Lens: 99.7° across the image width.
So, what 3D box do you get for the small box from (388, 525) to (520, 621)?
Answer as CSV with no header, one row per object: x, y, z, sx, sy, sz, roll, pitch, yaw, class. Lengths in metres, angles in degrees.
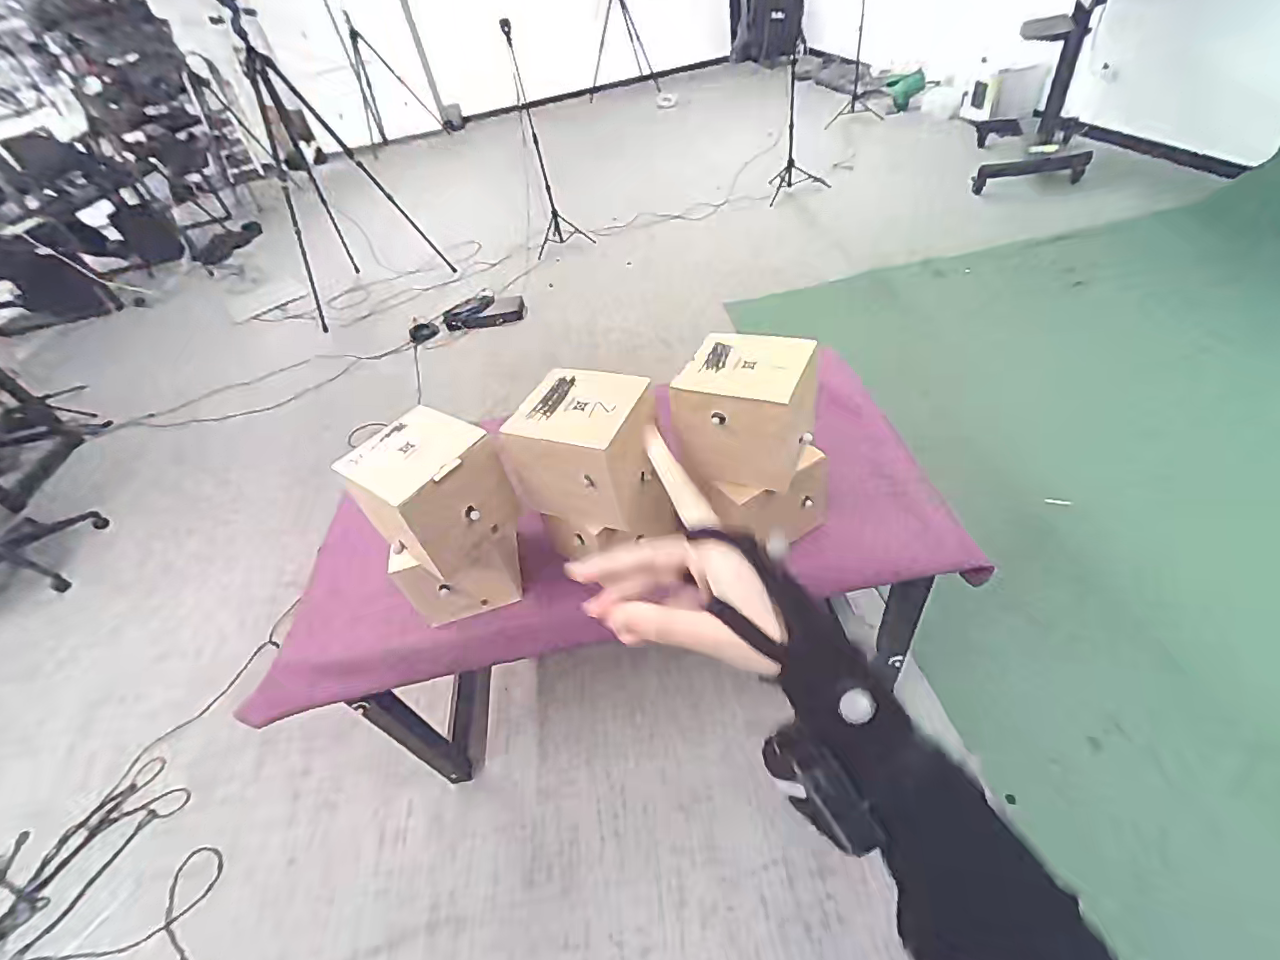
-0.319,0.126,0.955,0.168,0.176,0.179,-17,43,-5,small box

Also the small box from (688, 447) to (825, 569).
0.195,0.020,0.946,0.179,0.176,0.168,-28,44,-15,small box

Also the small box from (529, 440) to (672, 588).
-0.062,0.064,0.957,0.168,0.176,0.179,-39,49,-26,small box

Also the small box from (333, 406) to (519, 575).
-0.315,0.019,0.826,0.179,0.176,0.168,22,52,31,small box

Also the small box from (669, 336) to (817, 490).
0.165,-0.105,0.845,0.179,0.176,0.168,13,48,26,small box
